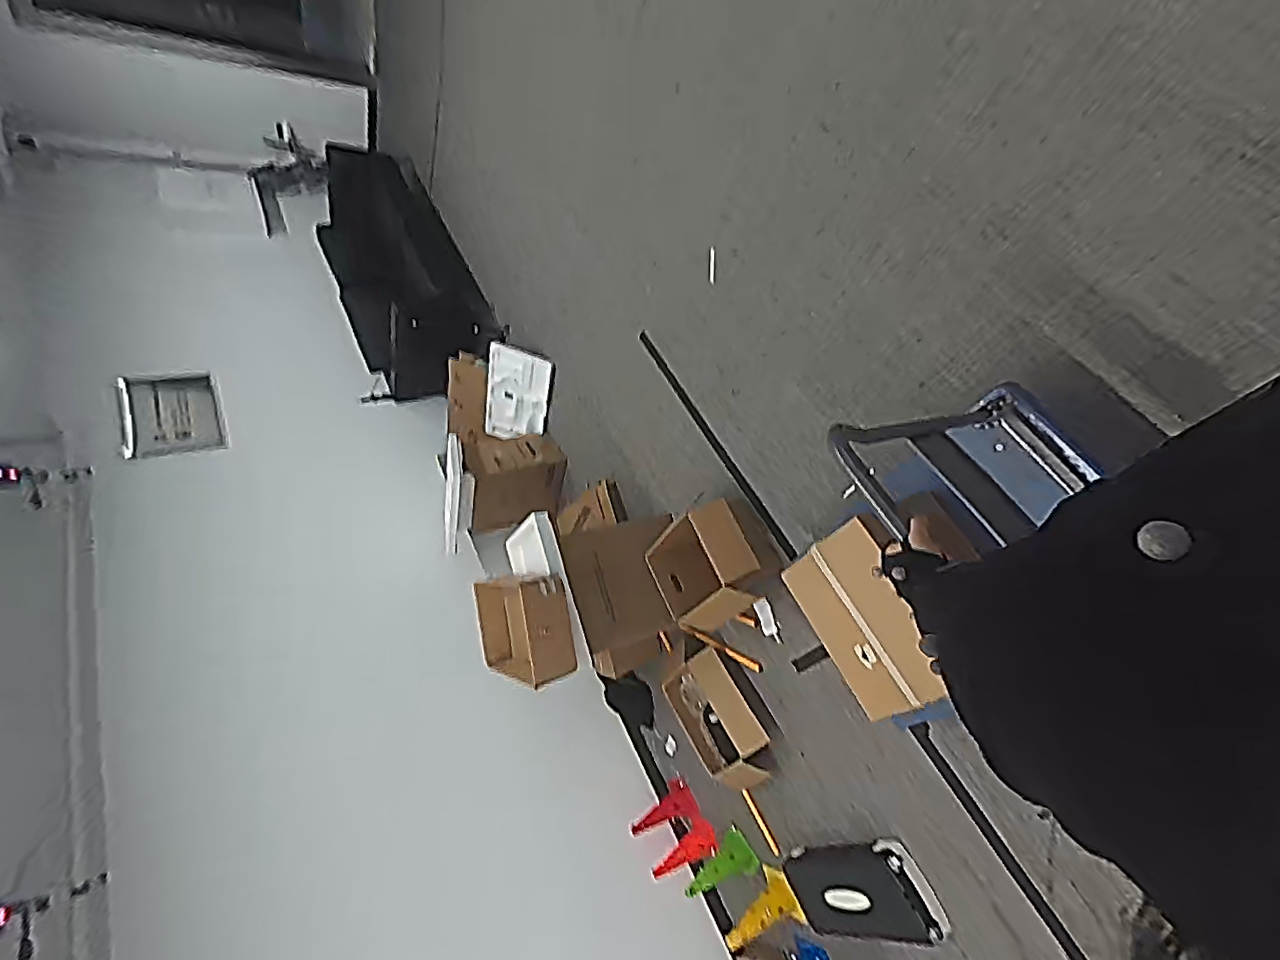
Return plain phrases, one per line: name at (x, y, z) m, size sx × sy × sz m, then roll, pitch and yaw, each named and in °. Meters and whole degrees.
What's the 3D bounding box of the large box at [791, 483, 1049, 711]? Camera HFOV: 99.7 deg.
large box at (0.663, 0.273, 1.323) m, size 0.408 × 0.320 × 0.320 m, roll 60°, pitch 144°, yaw 23°
